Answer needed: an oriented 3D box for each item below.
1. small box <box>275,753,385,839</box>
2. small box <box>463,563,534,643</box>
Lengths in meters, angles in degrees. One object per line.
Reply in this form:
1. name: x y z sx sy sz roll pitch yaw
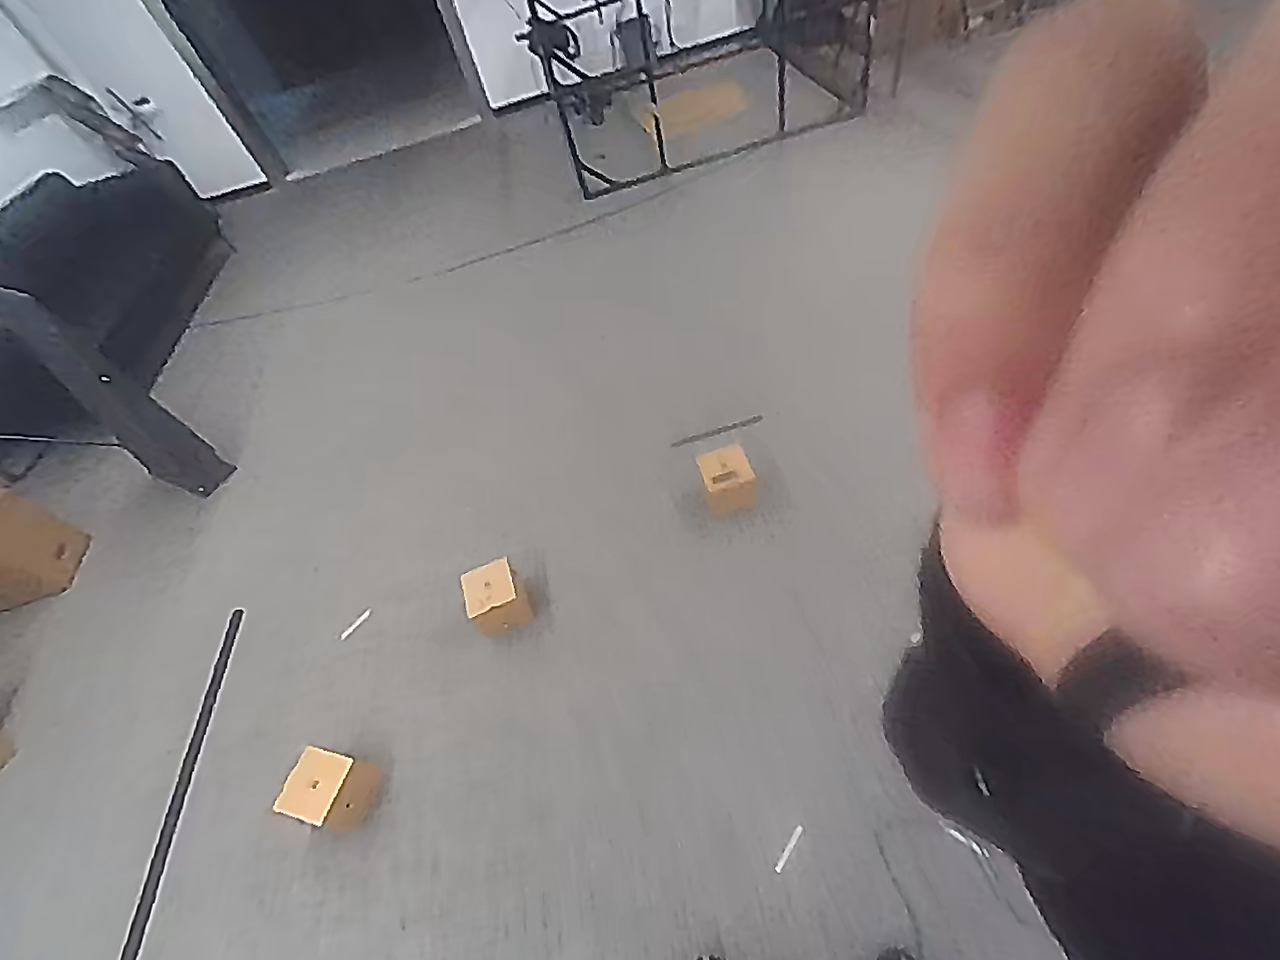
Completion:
1. small box: -0.866 0.898 1.532 0.179 0.176 0.168 4 53 18
2. small box: -0.474 0.416 1.819 0.168 0.176 0.179 -23 50 -5
